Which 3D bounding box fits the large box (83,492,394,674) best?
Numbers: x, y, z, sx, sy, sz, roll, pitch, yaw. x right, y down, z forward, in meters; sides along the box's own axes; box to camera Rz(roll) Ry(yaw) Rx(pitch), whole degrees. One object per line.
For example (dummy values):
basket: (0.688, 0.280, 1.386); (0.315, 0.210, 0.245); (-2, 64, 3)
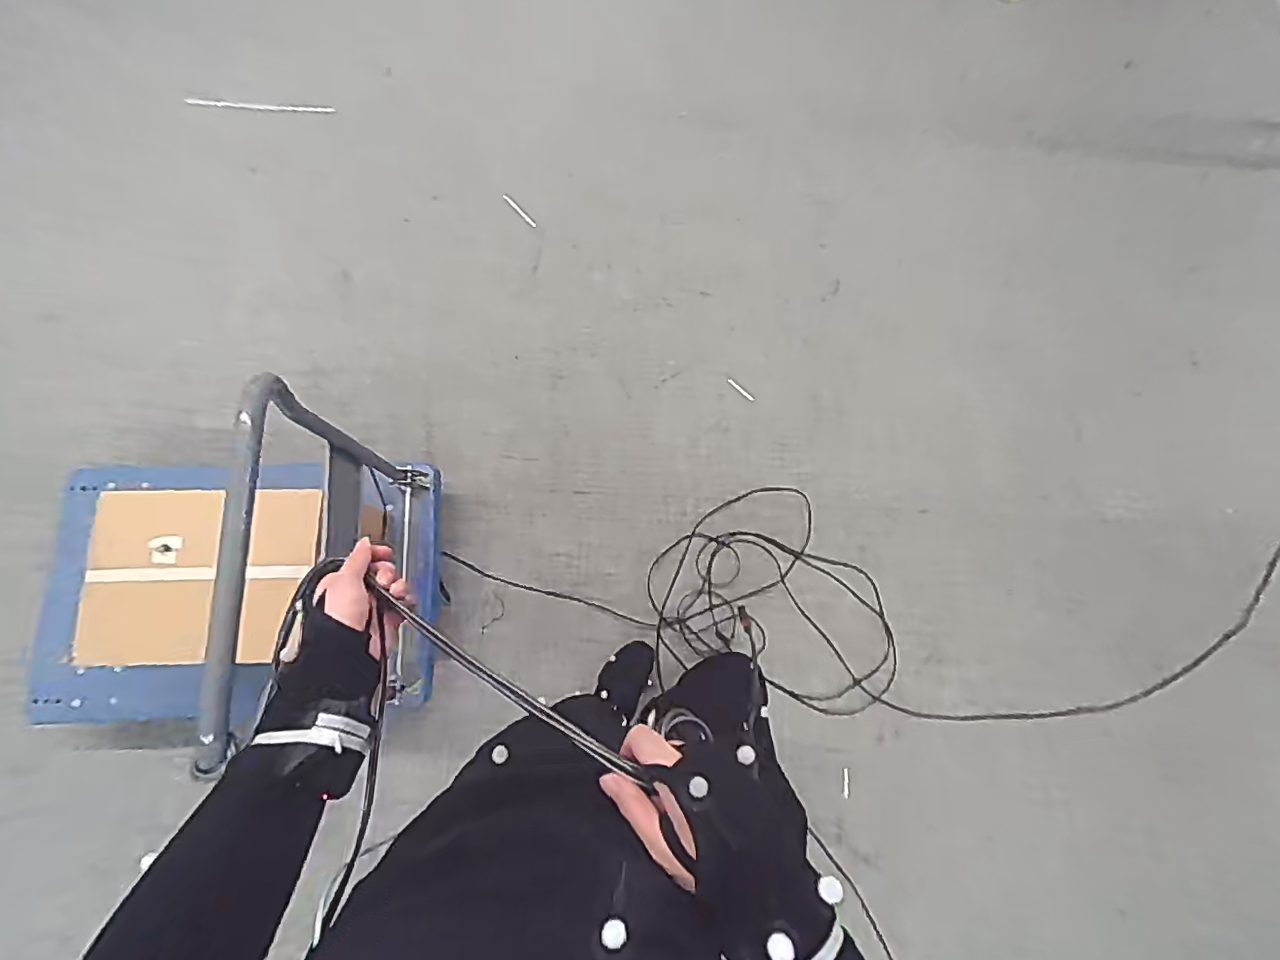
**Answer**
large box: (-0.770, 0.207, 1.110); (0.408, 0.320, 0.320); (-1, 78, -1)
